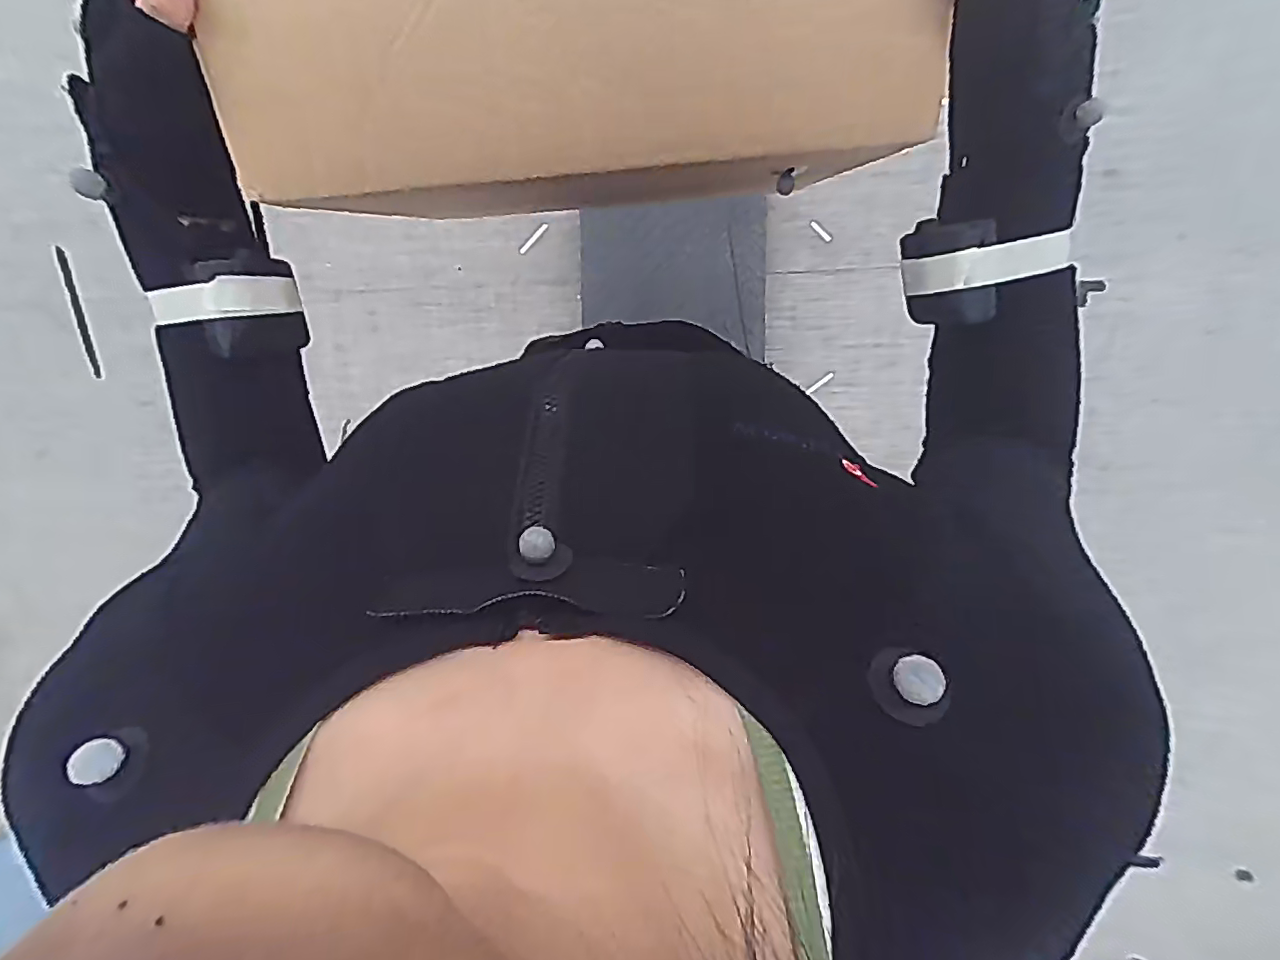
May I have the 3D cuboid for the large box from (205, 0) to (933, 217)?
[{"bbox_3d":[-0.040,-0.386,0.403,0.408,0.320,0.320,-3,113,4],"label":"large box"}]
